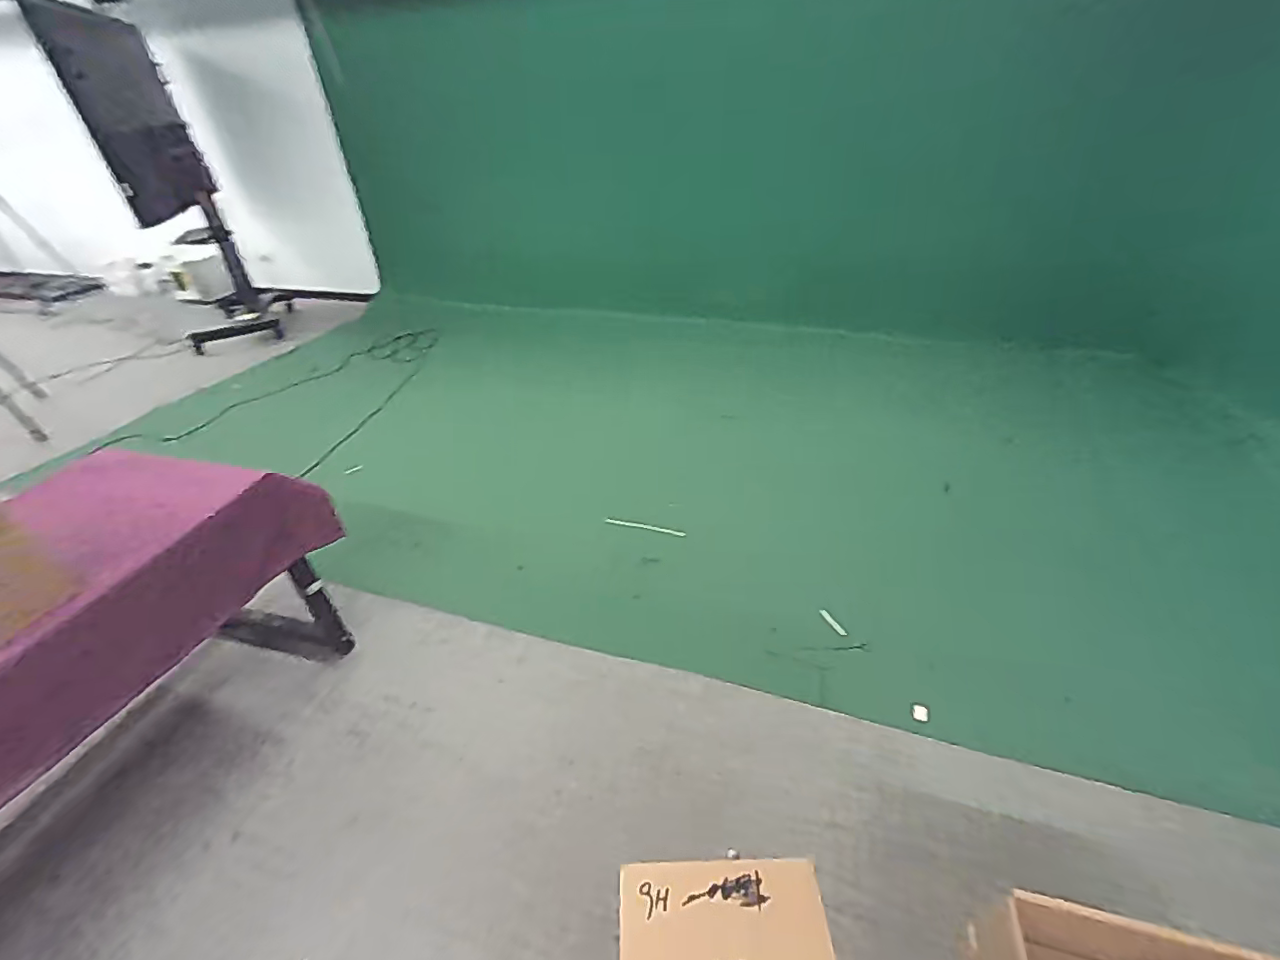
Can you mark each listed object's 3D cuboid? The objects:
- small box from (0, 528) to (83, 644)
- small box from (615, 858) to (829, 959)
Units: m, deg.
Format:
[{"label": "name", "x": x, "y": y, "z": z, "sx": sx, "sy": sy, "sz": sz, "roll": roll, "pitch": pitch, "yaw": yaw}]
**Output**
[{"label": "small box", "x": -1.260, "y": 0.200, "z": 1.039, "sx": 0.168, "sy": 0.176, "sz": 0.179, "roll": 9, "pitch": 37, "yaw": 15}, {"label": "small box", "x": 0.065, "y": 0.442, "z": 0.446, "sx": 0.168, "sy": 0.176, "sz": 0.179, "roll": -2, "pitch": 40, "yaw": -1}]
